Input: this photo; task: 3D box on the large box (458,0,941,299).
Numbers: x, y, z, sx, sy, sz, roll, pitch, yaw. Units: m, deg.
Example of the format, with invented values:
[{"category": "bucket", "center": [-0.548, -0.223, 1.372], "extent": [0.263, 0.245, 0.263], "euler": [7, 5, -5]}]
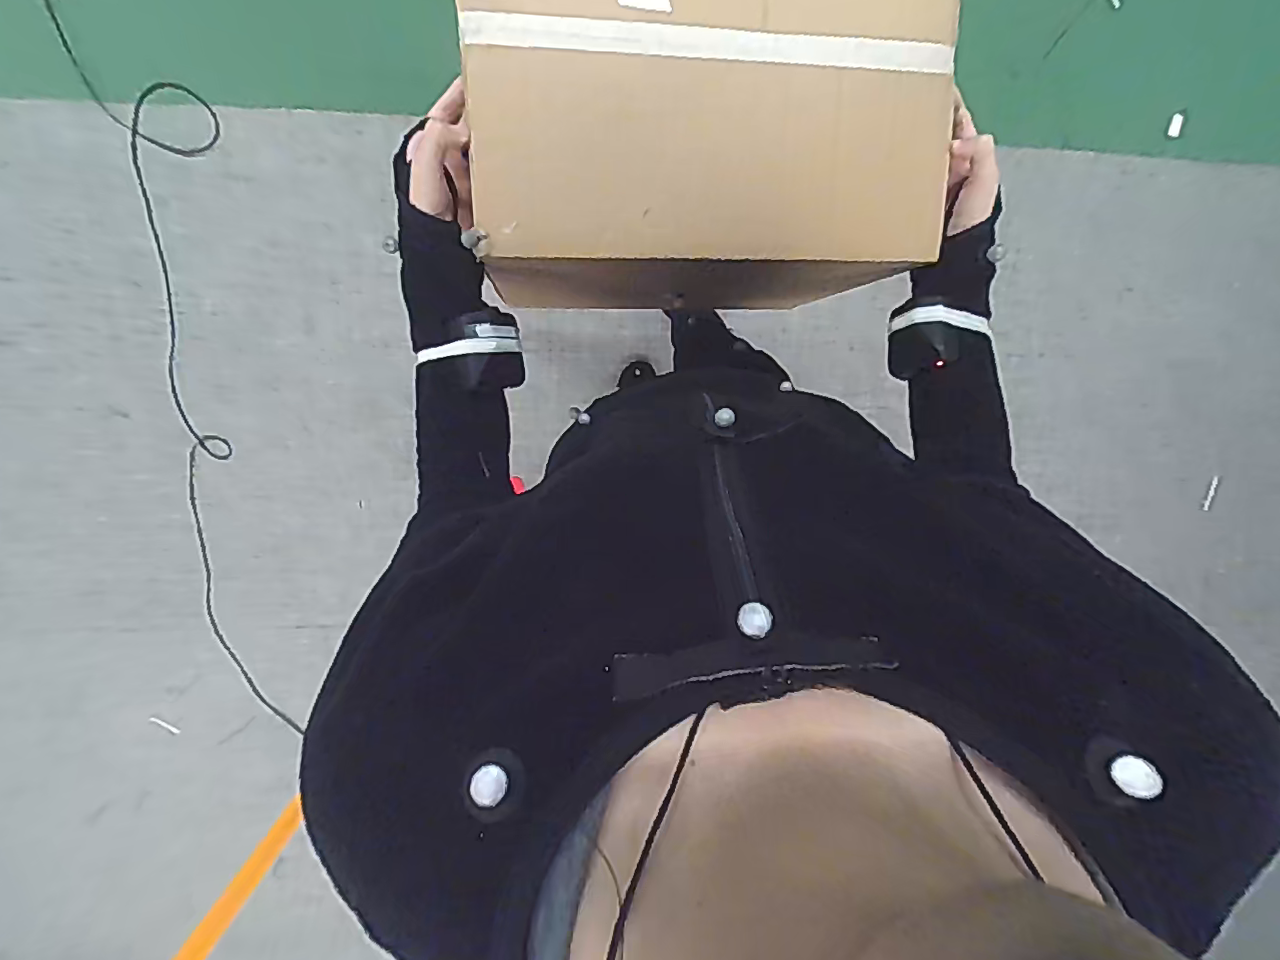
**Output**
[{"category": "large box", "center": [0.039, -0.376, 0.585], "extent": [0.408, 0.320, 0.320], "euler": [-3, 100, -8]}]
